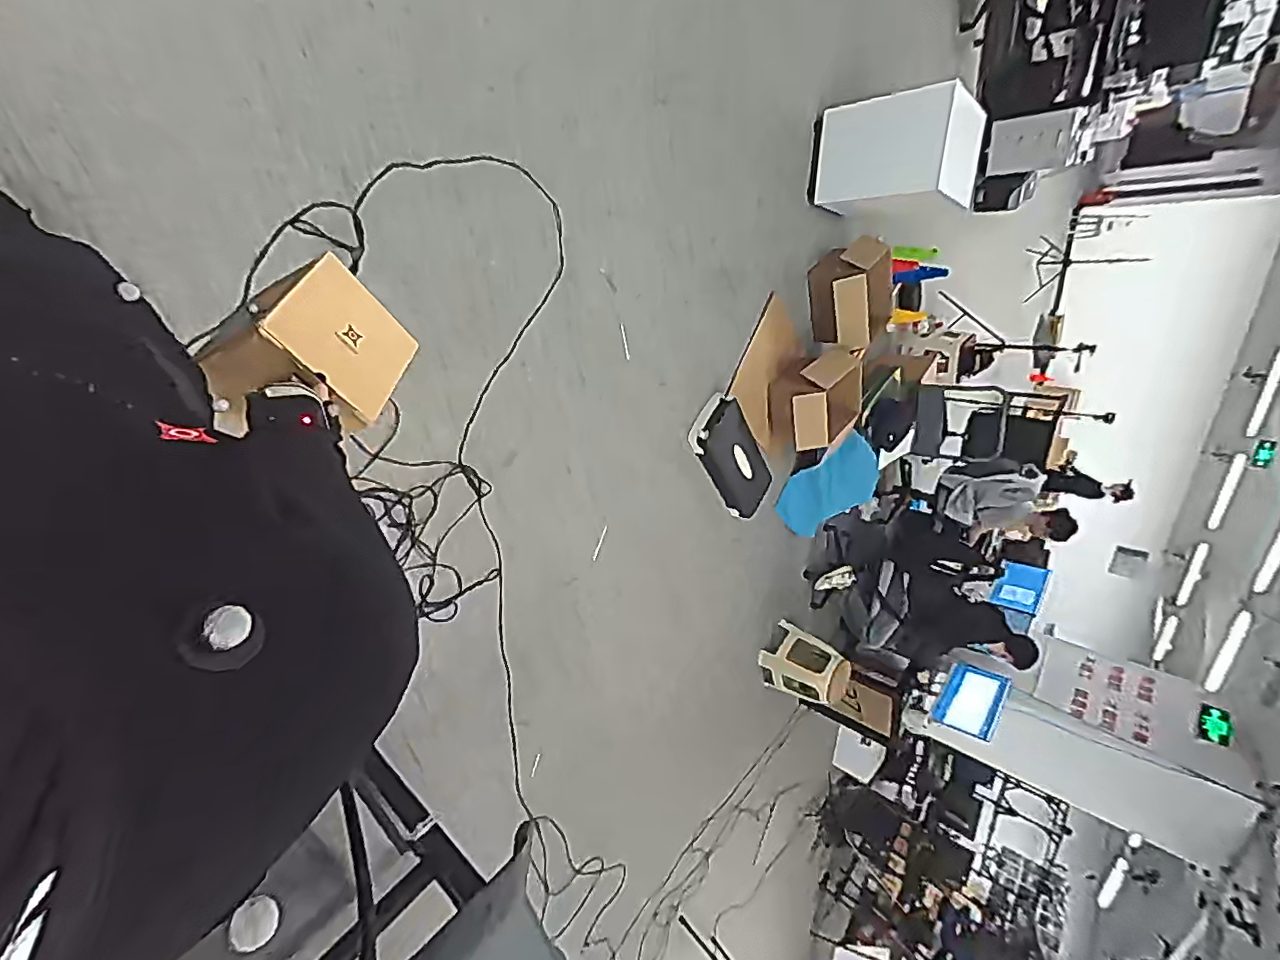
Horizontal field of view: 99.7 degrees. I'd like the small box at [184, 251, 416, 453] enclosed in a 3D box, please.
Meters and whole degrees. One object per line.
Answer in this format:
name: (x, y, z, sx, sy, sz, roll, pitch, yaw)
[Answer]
small box: (-0.443, -0.164, 0.720, 0.168, 0.176, 0.179, 54, 31, -42)
